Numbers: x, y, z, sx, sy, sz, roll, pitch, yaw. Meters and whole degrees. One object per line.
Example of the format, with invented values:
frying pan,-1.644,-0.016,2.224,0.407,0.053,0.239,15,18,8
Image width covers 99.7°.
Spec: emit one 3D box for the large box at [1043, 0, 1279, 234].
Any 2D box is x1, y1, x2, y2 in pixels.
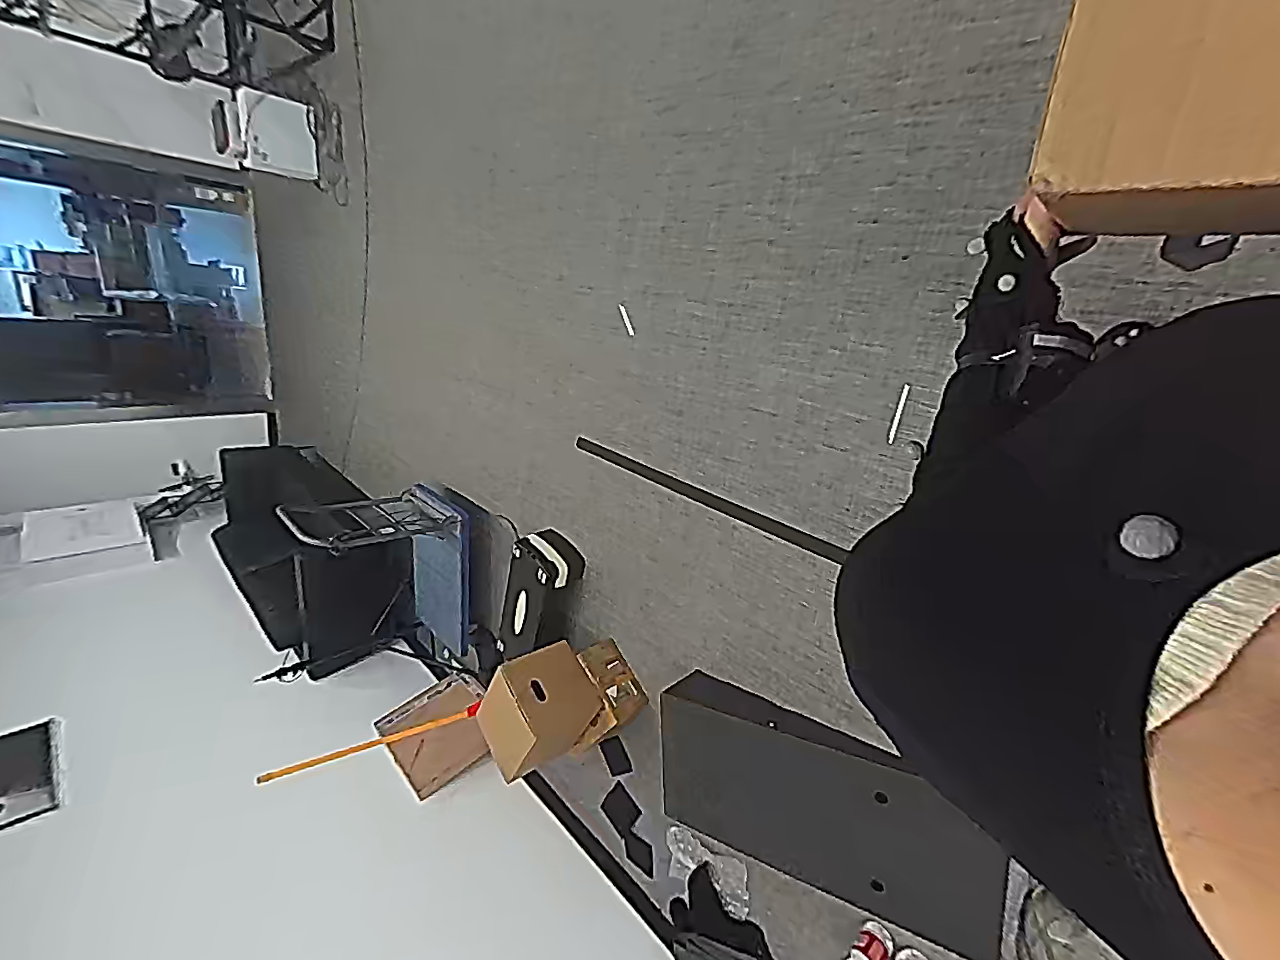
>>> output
large box,0.443,-0.280,0.210,0.408,0.320,0.320,17,117,34
